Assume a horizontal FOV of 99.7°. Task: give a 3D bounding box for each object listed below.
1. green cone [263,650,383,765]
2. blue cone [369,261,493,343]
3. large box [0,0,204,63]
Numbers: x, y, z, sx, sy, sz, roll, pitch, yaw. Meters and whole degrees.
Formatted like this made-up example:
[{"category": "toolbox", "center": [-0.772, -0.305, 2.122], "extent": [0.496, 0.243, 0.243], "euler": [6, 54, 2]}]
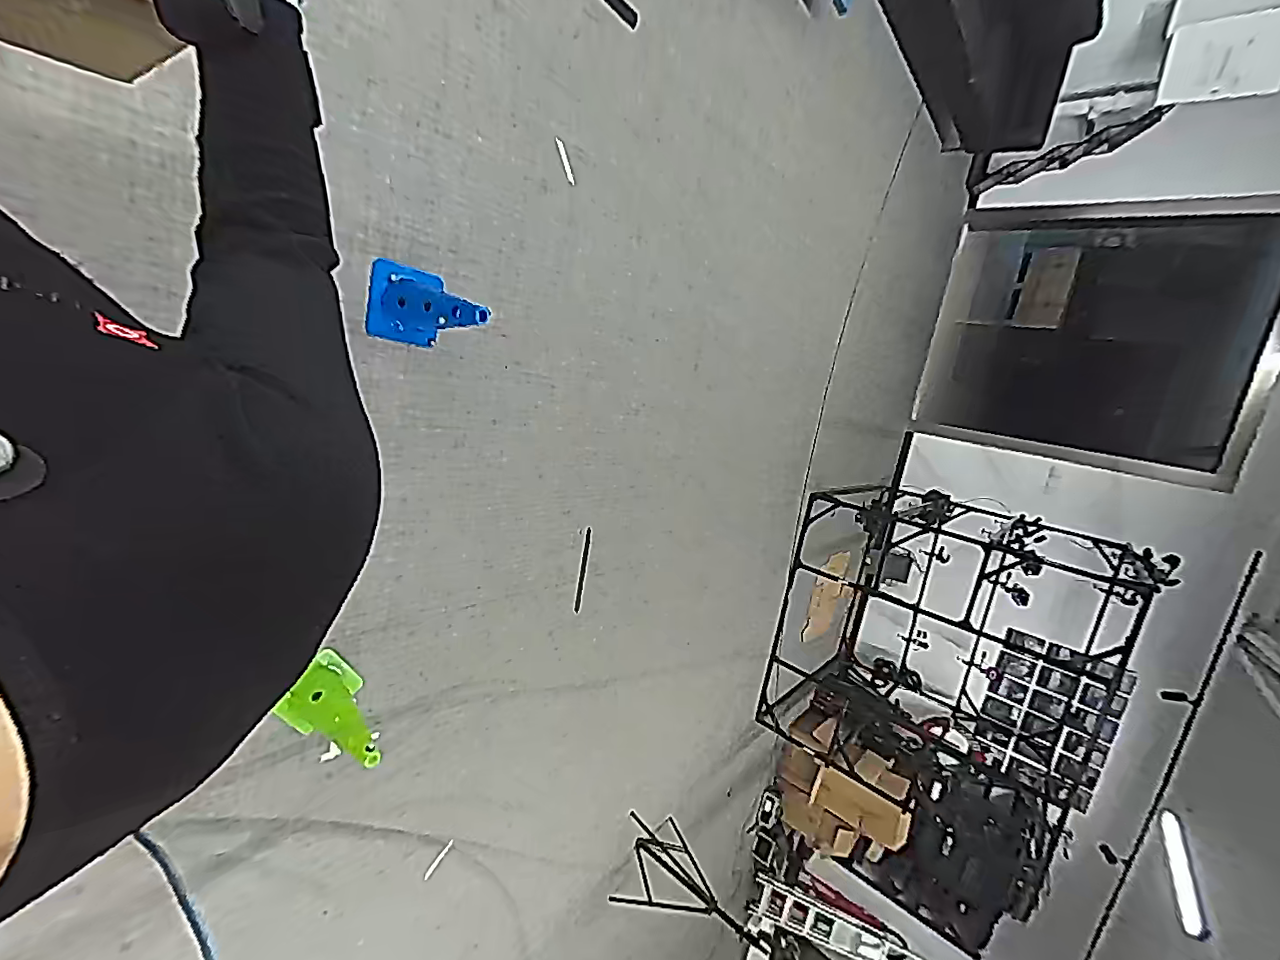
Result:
[{"category": "green cone", "center": [-0.801, 0.653, 1.448], "extent": [0.202, 0.368, 0.200], "euler": [-46, 137, -32]}, {"category": "blue cone", "center": [-0.510, -0.439, 1.375], "extent": [0.192, 0.380, 0.193], "euler": [2, 103, -53]}, {"category": "large box", "center": [-0.513, -0.493, 0.268], "extent": [0.408, 0.320, 0.320], "euler": [-9, 116, -51]}]
